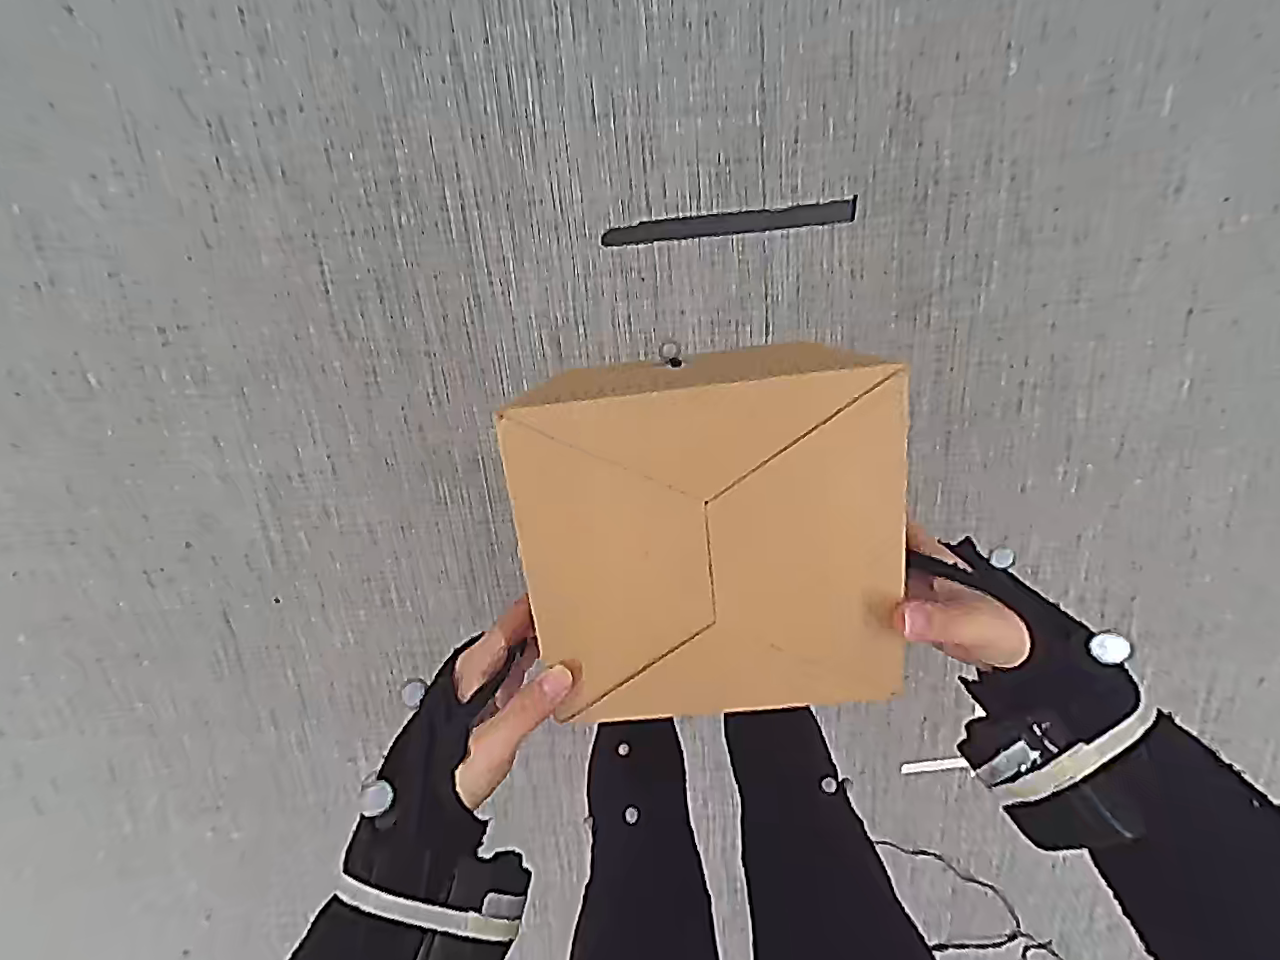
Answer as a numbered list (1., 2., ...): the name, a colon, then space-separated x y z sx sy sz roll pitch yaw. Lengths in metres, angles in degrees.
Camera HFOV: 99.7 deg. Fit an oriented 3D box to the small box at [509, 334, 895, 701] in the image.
1. small box: 0.039 0.010 0.329 0.179 0.176 0.168 -6 107 3
